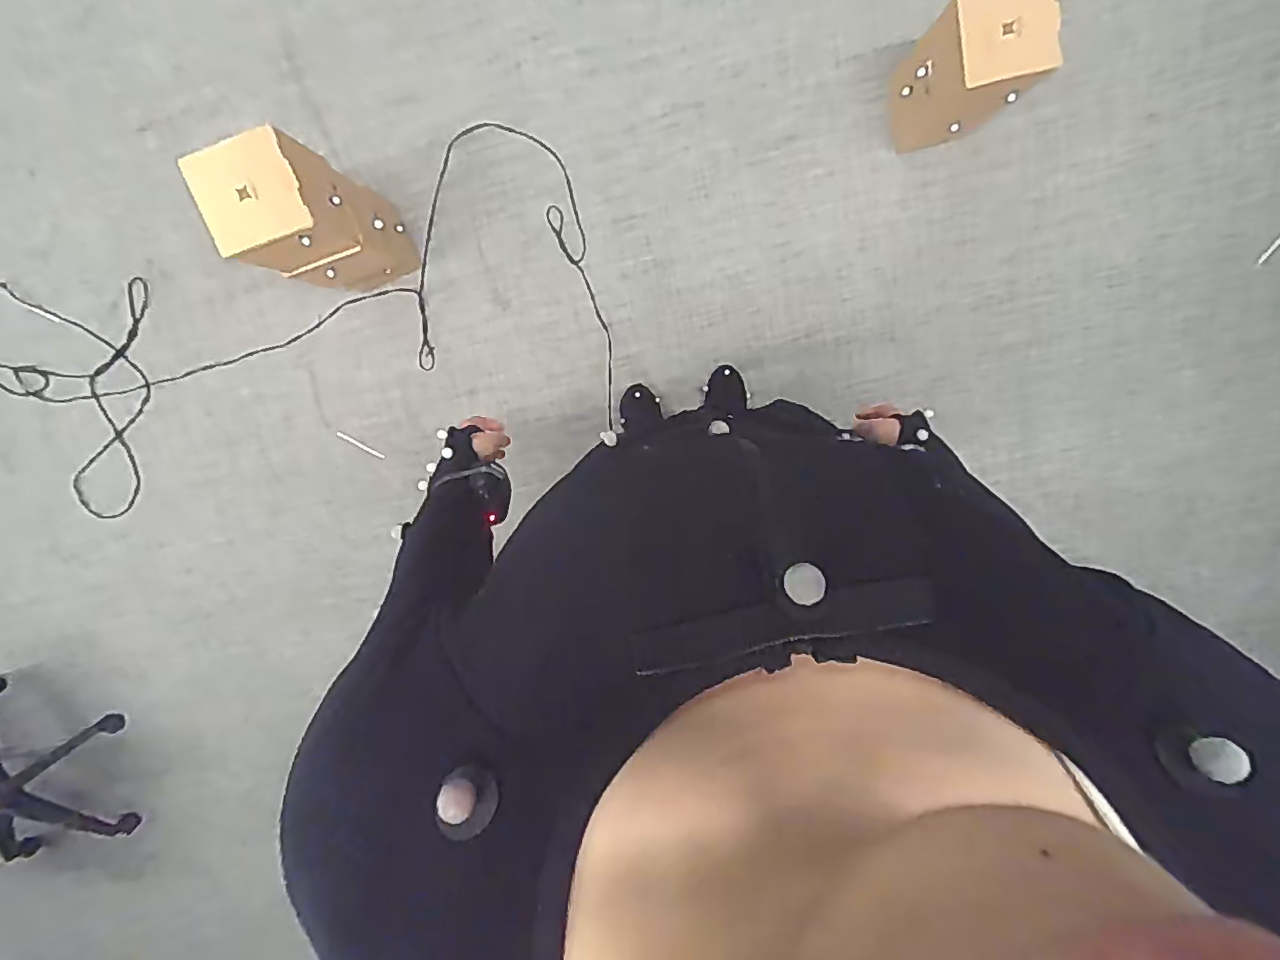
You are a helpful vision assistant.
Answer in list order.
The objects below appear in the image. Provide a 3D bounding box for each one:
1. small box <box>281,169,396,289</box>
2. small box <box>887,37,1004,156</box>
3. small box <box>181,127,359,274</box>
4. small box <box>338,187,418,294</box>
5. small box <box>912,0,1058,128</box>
[{"bbox_3d":[-0.659,-0.519,1.147,0.179,0.176,0.168,-18,101,4],"label":"small box"},{"bbox_3d":[0.680,-0.874,1.222,0.168,0.176,0.179,-13,101,4],"label":"small box"},{"bbox_3d":[-0.659,-0.494,0.986,0.179,0.176,0.168,-19,101,4],"label":"small box"},{"bbox_3d":[-0.665,-0.568,1.304,0.179,0.176,0.168,-21,100,6],"label":"small box"},{"bbox_3d":[0.670,-0.834,1.064,0.179,0.176,0.168,-13,100,4],"label":"small box"}]
